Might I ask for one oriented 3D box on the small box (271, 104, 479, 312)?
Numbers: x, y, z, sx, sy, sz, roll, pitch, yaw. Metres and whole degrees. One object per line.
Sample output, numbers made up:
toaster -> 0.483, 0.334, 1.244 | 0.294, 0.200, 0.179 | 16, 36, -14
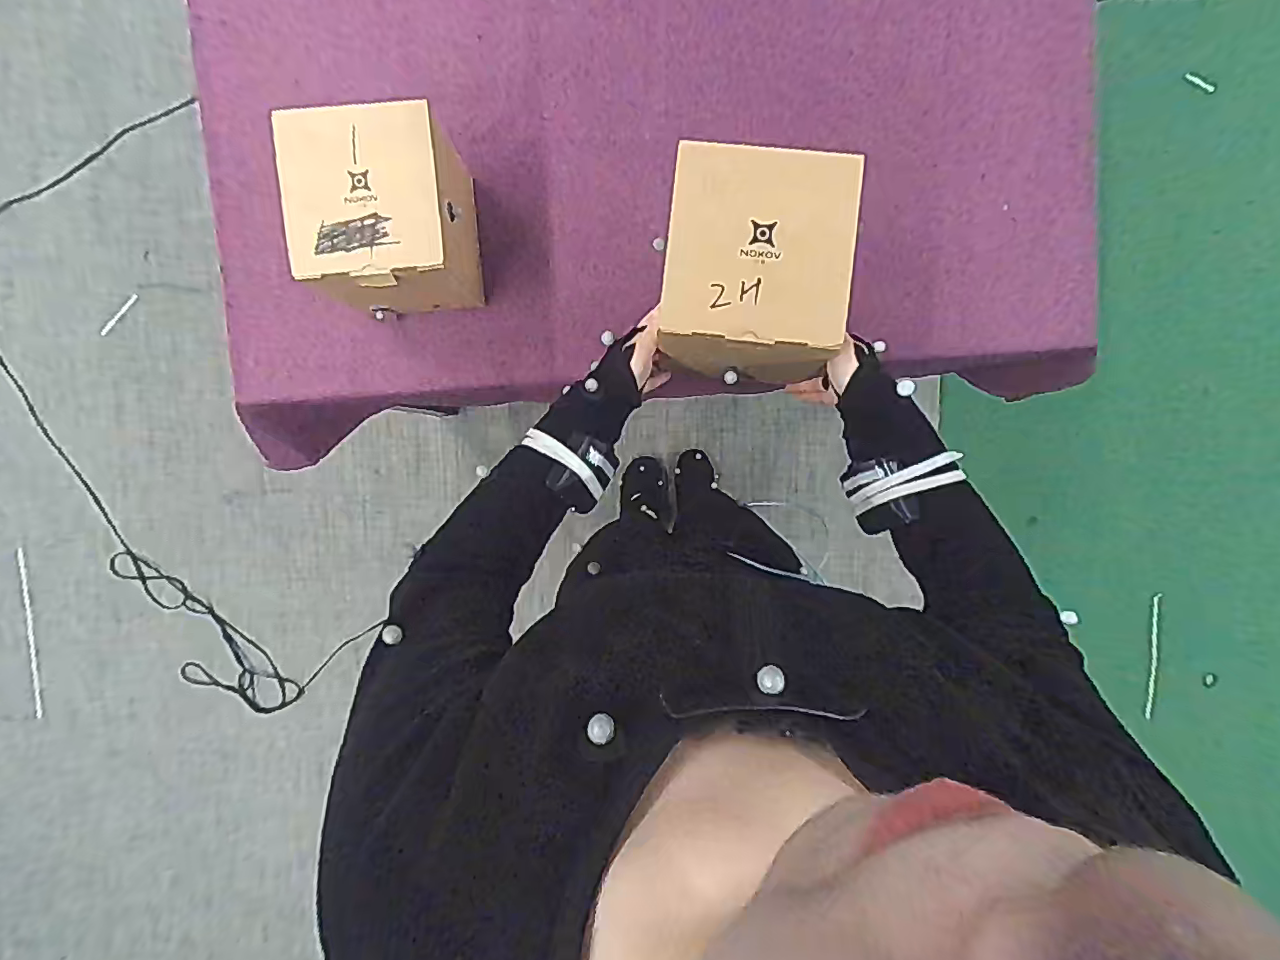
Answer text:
small box -> -0.302, -0.309, 0.654 | 0.168, 0.176, 0.179 | -5, 93, -1

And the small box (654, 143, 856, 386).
small box -> 0.106, -0.207, 0.563 | 0.168, 0.176, 0.179 | 7, 89, 3
